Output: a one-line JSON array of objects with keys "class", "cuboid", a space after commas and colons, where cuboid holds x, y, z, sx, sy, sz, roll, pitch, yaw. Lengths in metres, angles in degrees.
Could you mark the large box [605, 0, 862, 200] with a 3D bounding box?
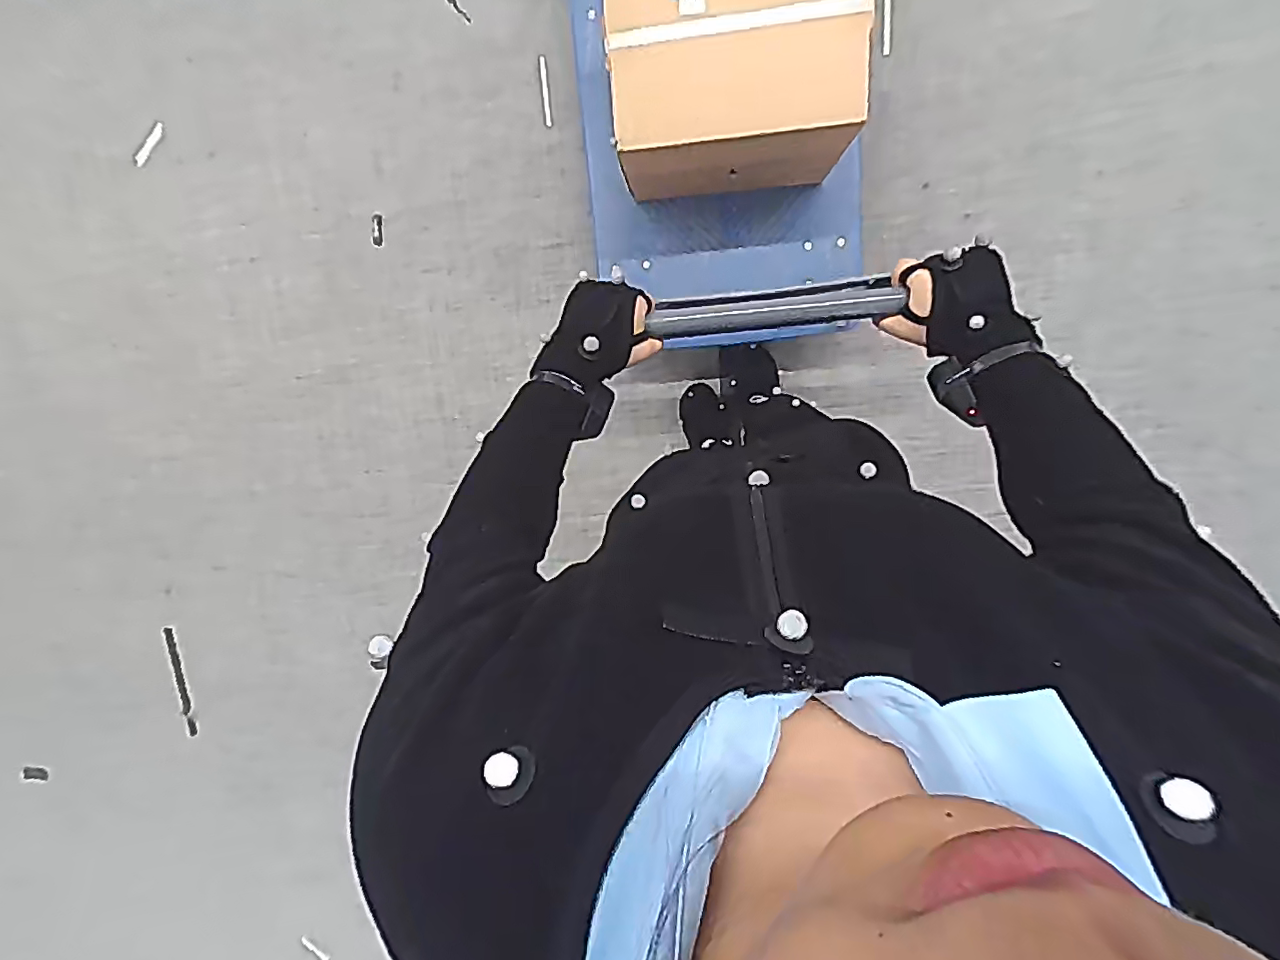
[{"class": "large box", "cuboid": [0.165, -0.748, 1.007, 0.408, 0.320, 0.320, -4, 102, 7]}]
